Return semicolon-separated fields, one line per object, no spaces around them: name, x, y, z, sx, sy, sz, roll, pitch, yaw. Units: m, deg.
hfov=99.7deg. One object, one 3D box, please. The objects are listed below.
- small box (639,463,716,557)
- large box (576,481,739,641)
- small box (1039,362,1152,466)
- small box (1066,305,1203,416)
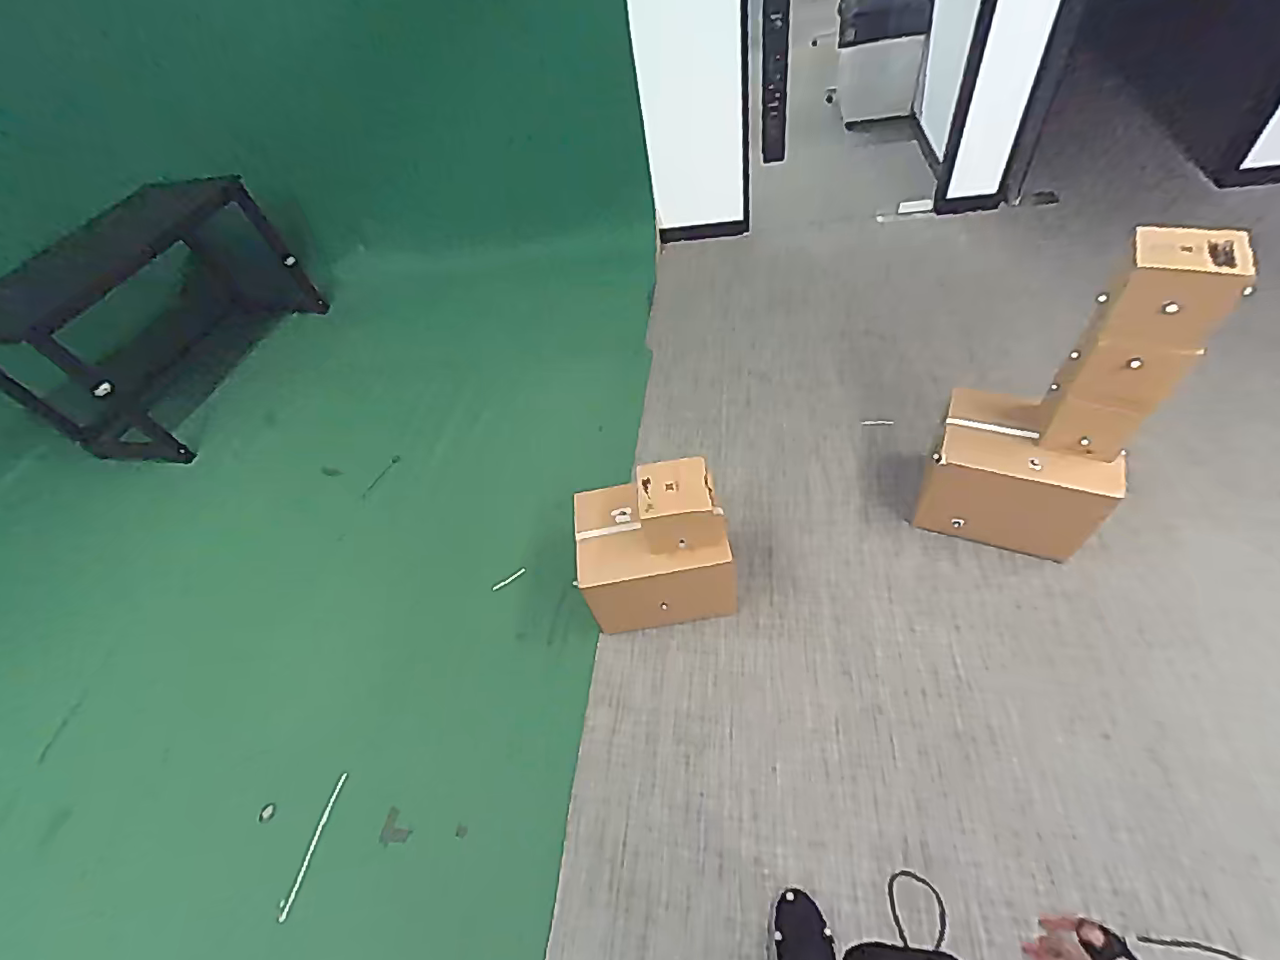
small box;0.097;0.080;1.366;0.179;0.176;0.168;-7;50;6
large box;0.053;0.236;1.571;0.408;0.320;0.320;-12;49;4
small box;1.127;-0.165;1.350;0.168;0.176;0.179;16;54;24
small box;1.110;-0.268;1.225;0.179;0.176;0.168;17;55;25
